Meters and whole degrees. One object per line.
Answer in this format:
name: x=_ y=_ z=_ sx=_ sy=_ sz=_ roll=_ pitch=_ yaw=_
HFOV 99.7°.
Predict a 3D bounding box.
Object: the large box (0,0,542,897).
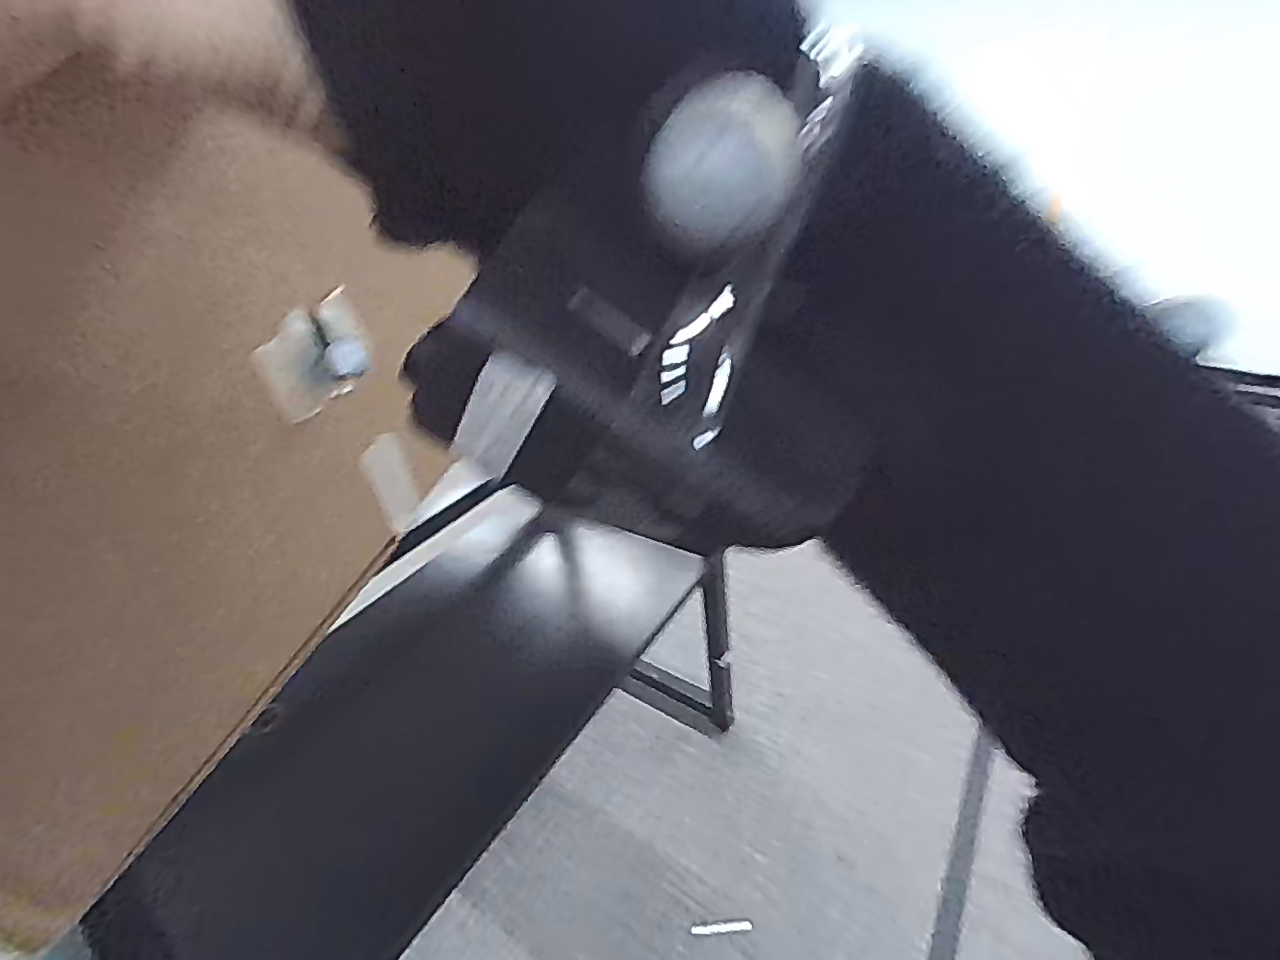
large box: x=-0.277 y=-0.134 z=0.173 sx=0.408 sy=0.320 sz=0.320 roll=10 pitch=39 yaw=8
